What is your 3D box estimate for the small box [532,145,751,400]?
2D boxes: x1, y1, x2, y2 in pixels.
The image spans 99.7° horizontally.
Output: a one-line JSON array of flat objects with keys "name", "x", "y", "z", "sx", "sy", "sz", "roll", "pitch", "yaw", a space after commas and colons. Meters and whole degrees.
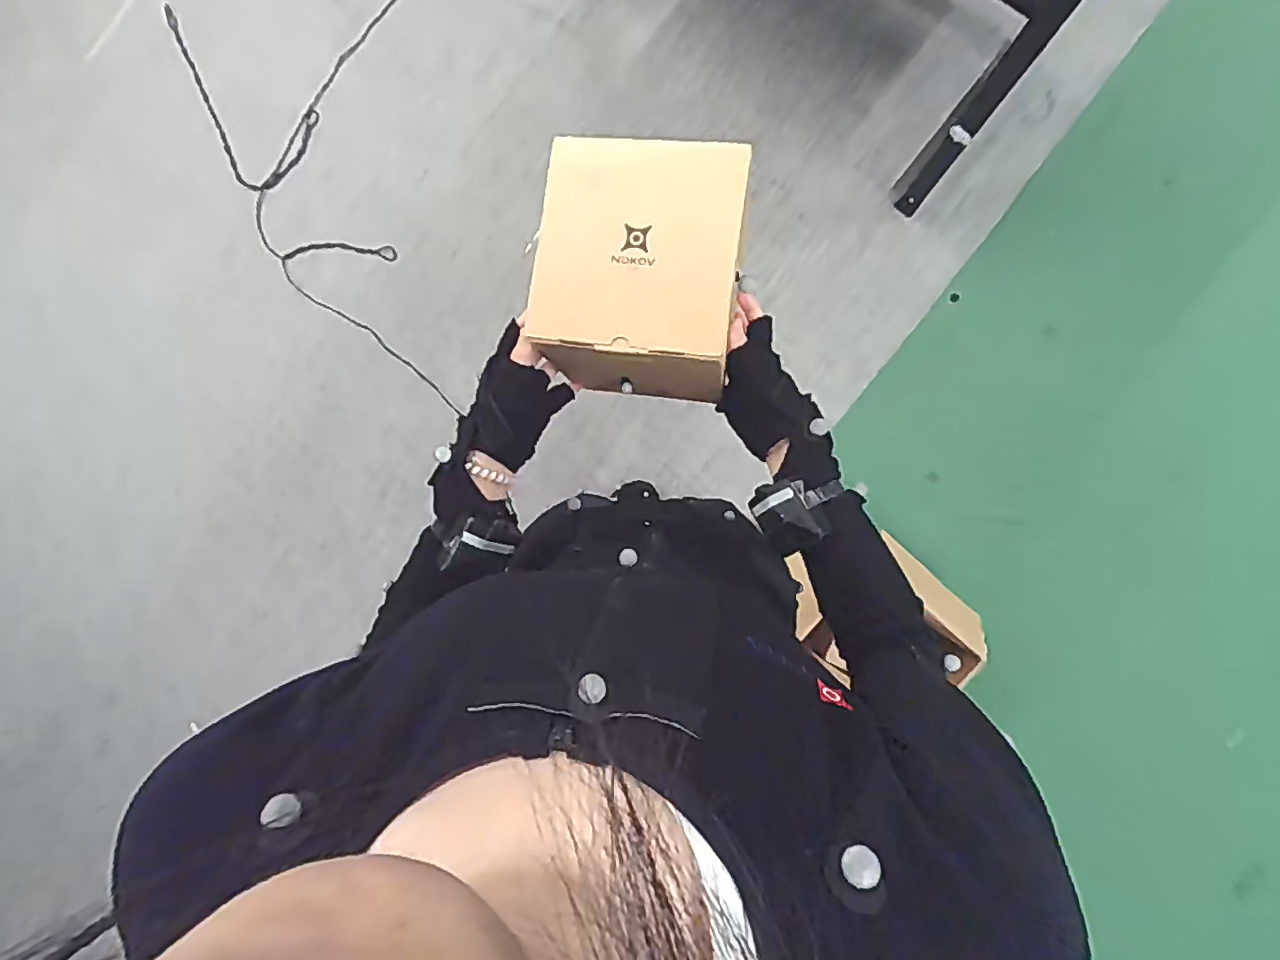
[{"name": "small box", "x": 0.009, "y": -0.188, "z": 0.531, "sx": 0.168, "sy": 0.176, "sz": 0.179, "roll": 8, "pitch": 89, "yaw": 8}]
